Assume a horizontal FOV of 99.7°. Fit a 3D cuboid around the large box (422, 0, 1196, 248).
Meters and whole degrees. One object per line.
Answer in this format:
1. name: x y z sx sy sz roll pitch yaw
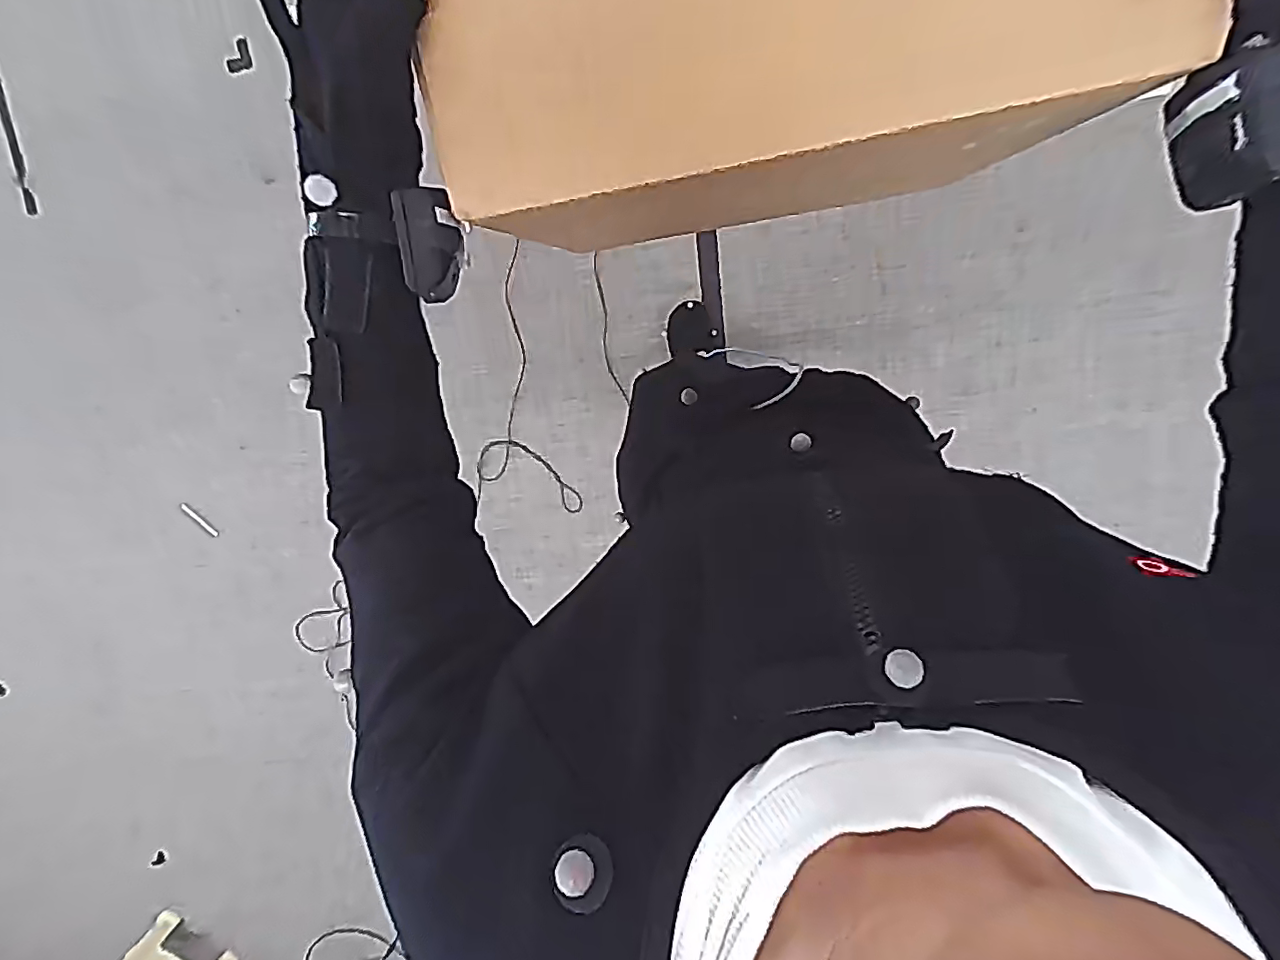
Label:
1. large box: 0.076 -0.387 0.403 0.408 0.320 0.320 -8 109 9
